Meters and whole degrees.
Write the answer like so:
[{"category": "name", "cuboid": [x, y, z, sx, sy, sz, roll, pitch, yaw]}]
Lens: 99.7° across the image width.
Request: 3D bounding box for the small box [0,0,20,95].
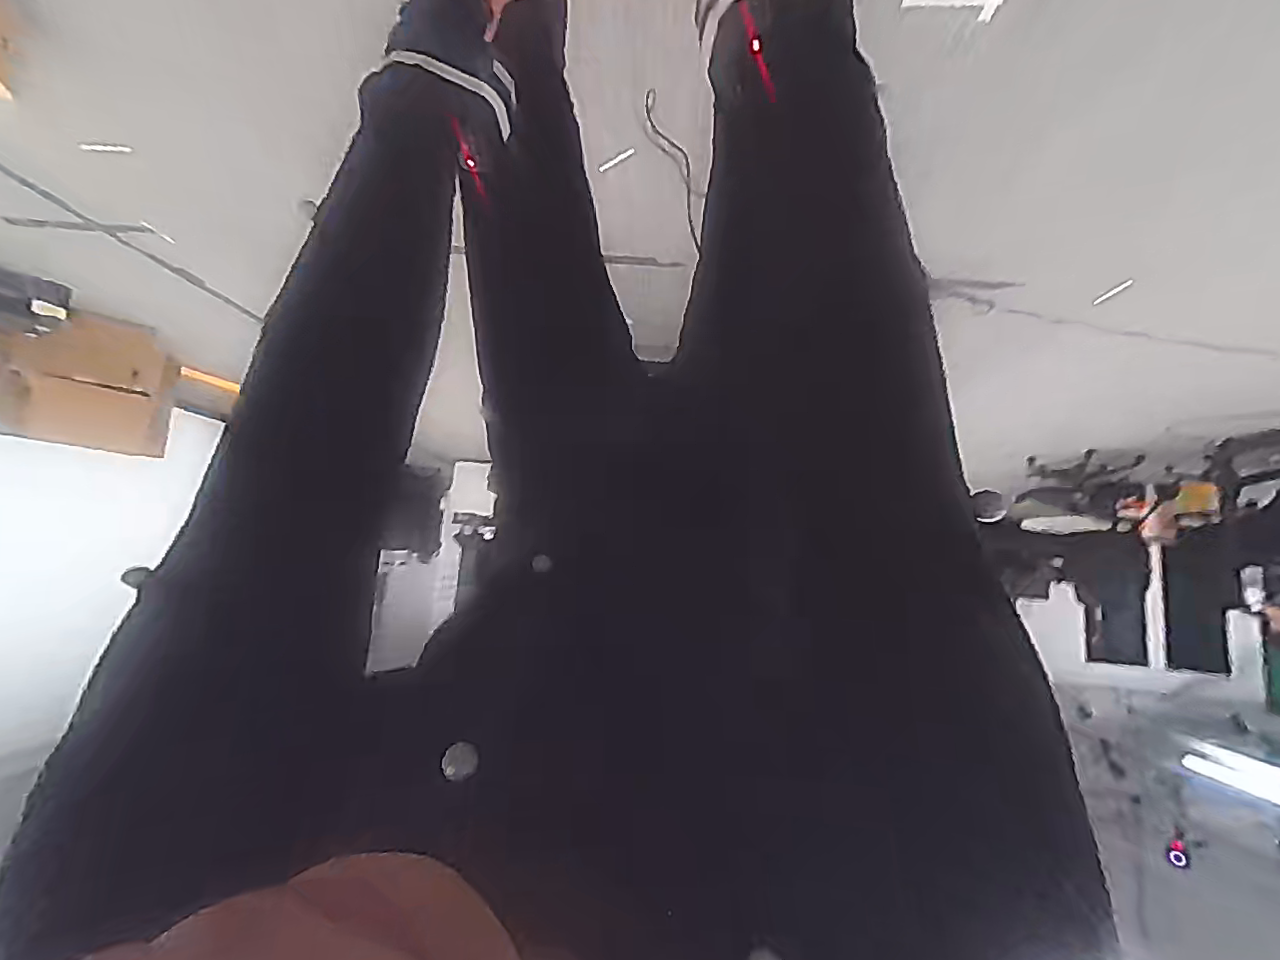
[{"category": "small box", "cuboid": [-1.264, -0.845, 0.956, 0.179, 0.176, 0.168, 8, 171, -23]}]
